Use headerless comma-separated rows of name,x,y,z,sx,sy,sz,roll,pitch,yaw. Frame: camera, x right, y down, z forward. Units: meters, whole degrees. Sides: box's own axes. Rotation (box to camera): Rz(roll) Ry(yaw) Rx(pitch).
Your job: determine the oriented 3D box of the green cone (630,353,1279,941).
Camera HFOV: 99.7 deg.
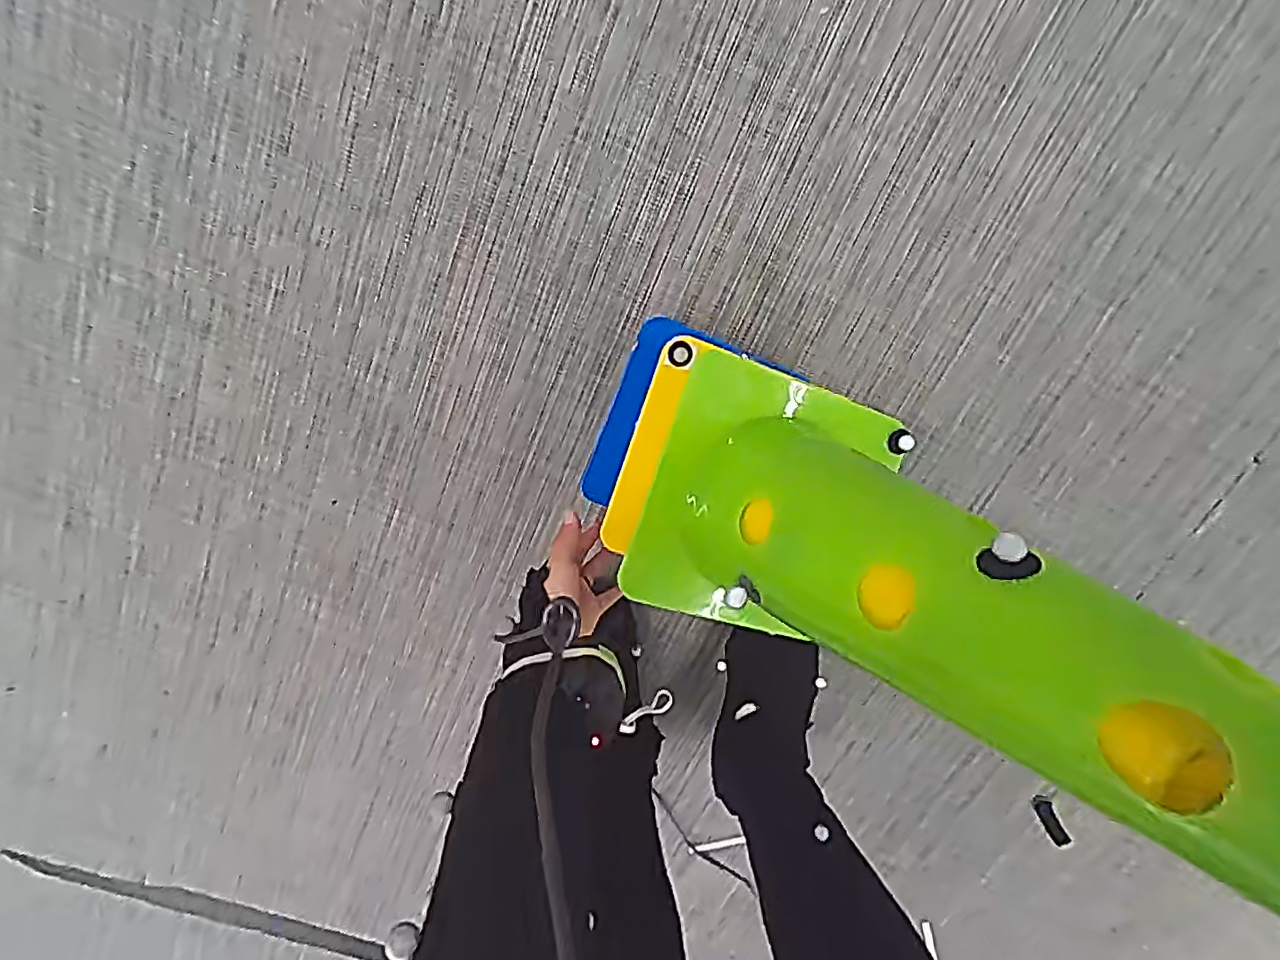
green cone,0.147,0.062,0.256,0.200,0.368,0.202,16,99,-17
